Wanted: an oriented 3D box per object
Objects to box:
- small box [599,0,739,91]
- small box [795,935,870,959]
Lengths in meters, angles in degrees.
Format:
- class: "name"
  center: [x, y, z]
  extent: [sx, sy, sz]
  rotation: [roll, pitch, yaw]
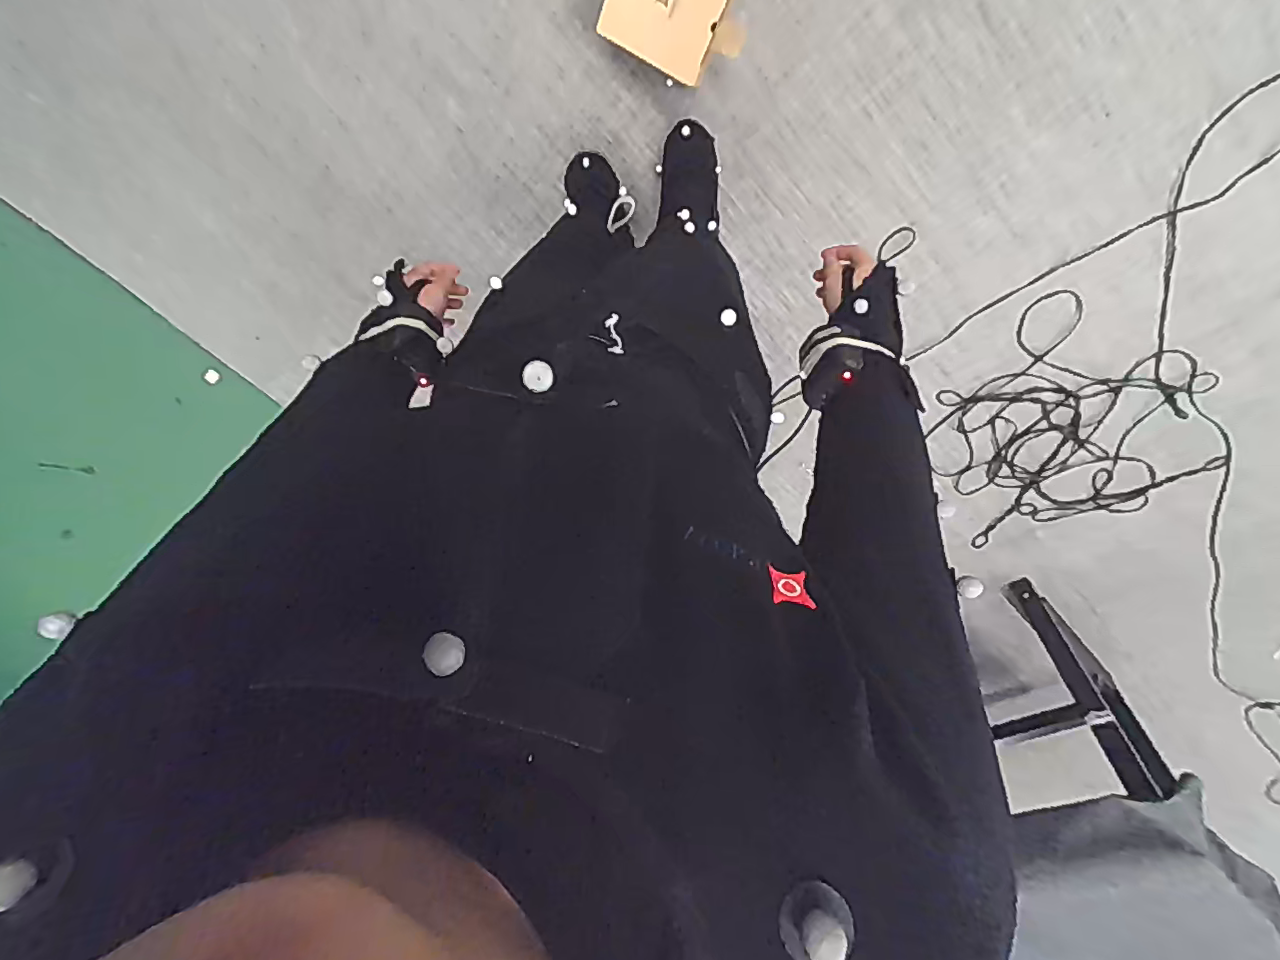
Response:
- class: "small box"
  center: [0.054, -0.768, 0.884]
  extent: [0.179, 0.176, 0.168]
  rotation: [24, 126, -10]
- class: "small box"
  center: [0.528, 1.353, 1.452]
  extent: [0.179, 0.176, 0.168]
  rotation: [-23, 121, 22]
